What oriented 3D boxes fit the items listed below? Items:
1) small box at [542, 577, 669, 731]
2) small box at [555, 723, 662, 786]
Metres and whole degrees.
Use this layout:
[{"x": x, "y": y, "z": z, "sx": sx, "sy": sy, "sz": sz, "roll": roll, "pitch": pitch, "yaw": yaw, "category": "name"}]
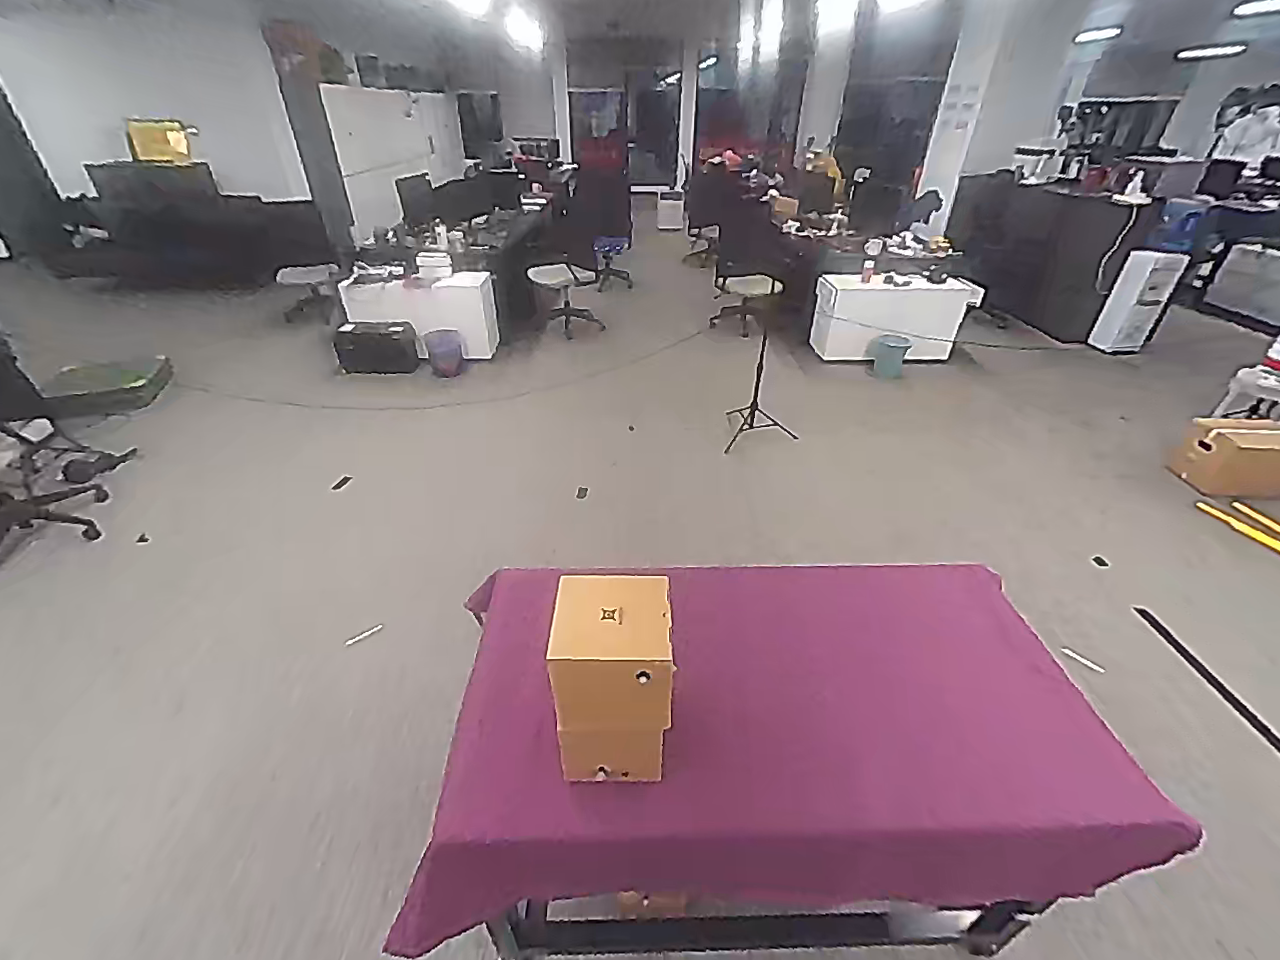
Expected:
[{"x": -0.045, "y": 0.269, "z": 0.840, "sx": 0.179, "sy": 0.176, "sz": 0.168, "roll": 1, "pitch": 35, "yaw": 1, "category": "small box"}, {"x": -0.049, "y": 0.399, "z": 0.937, "sx": 0.168, "sy": 0.176, "sz": 0.179, "roll": 0, "pitch": 35, "yaw": 0, "category": "small box"}]
